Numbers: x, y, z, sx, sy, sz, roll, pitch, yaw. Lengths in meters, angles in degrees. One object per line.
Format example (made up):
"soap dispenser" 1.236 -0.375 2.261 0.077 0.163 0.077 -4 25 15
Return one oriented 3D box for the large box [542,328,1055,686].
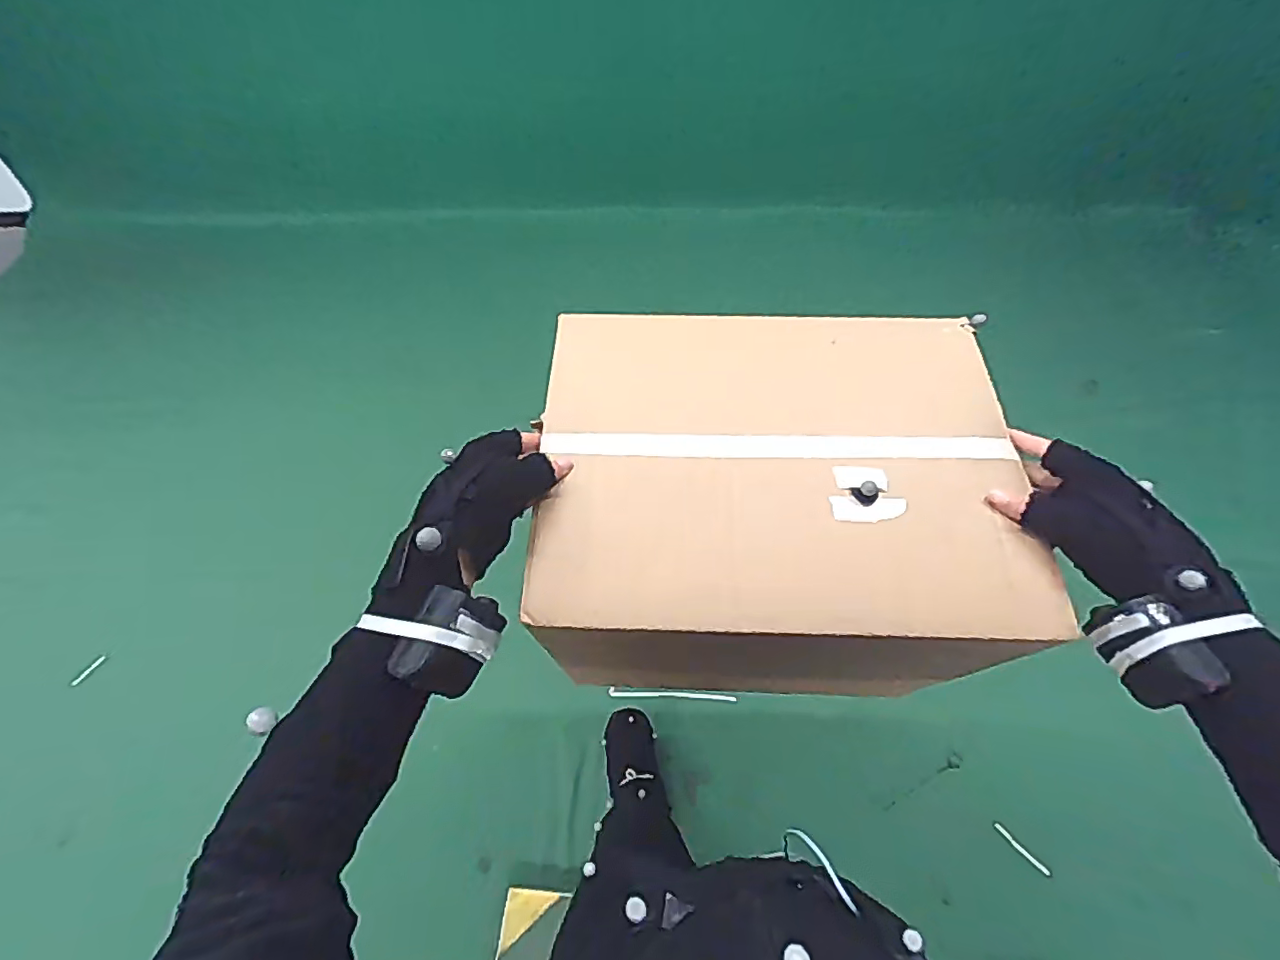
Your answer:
"large box" 0.121 0.049 0.614 0.408 0.320 0.320 1 62 1
